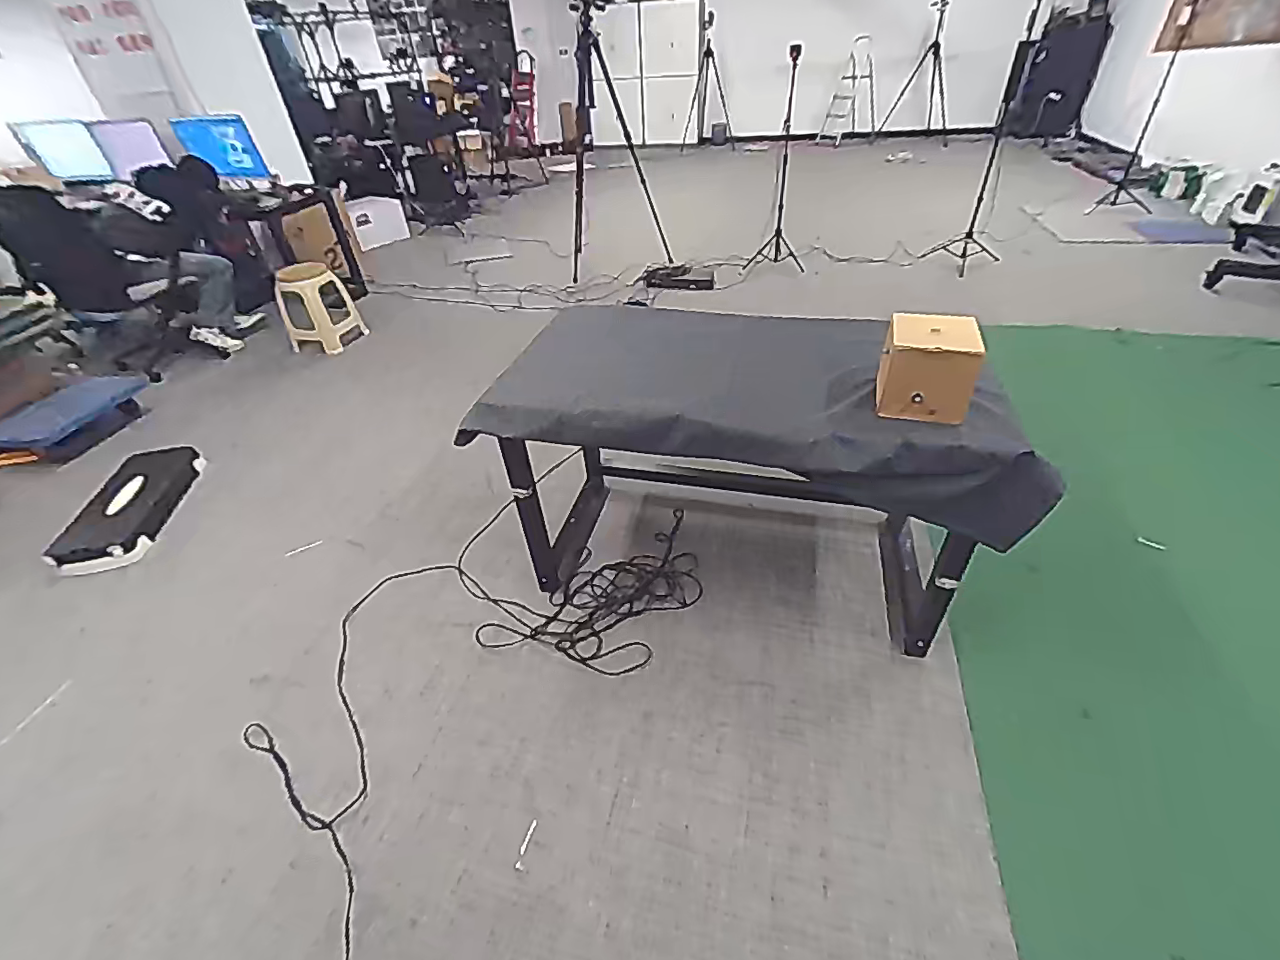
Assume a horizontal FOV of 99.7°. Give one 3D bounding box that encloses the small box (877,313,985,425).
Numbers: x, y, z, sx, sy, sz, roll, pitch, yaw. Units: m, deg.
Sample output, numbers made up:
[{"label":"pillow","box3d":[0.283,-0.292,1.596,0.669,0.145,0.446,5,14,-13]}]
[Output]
[{"label":"small box","box3d":[0.614,-0.242,1.165,0.168,0.176,0.179,9,41,17]}]
